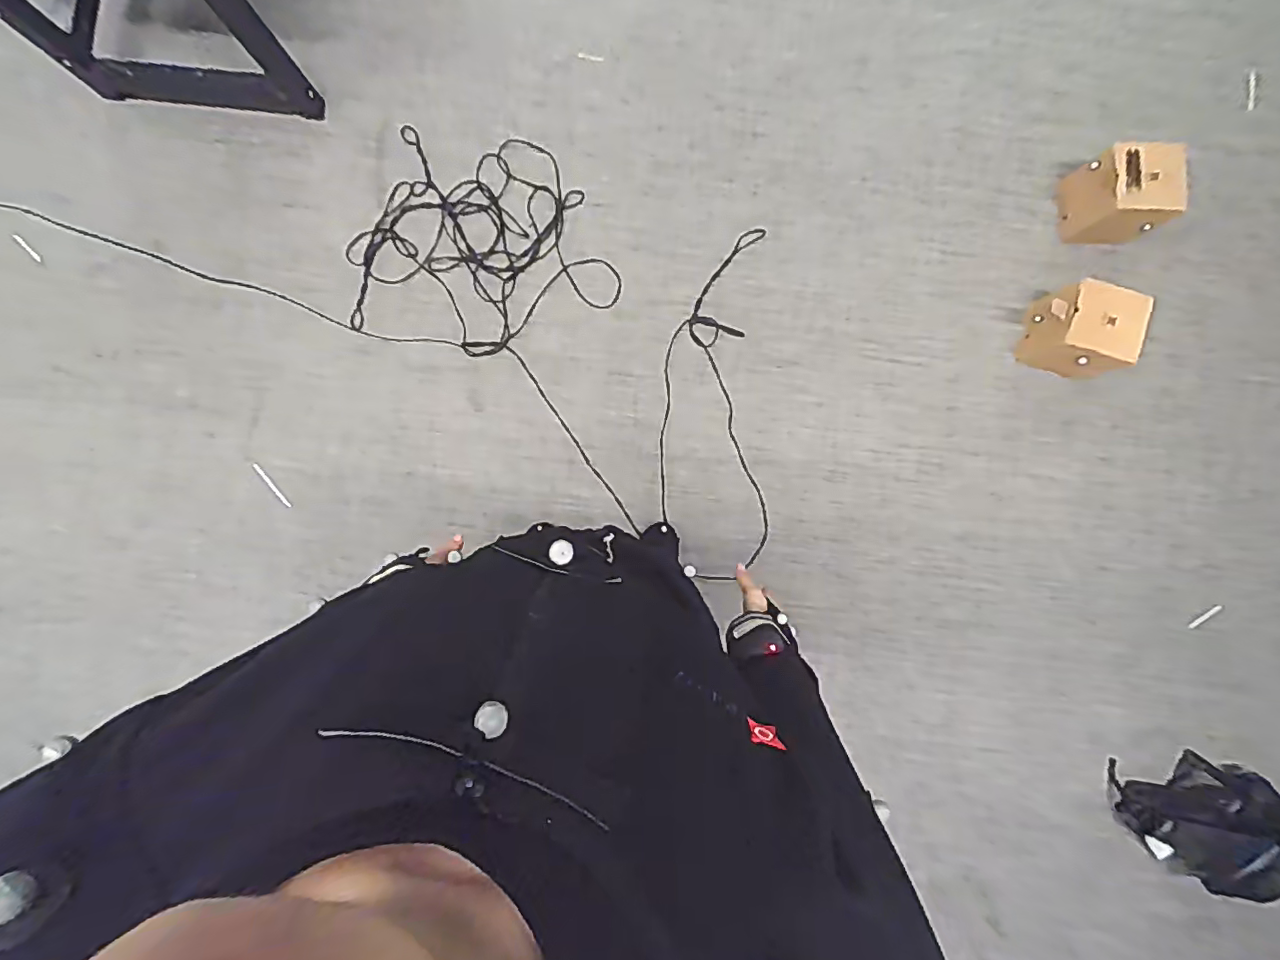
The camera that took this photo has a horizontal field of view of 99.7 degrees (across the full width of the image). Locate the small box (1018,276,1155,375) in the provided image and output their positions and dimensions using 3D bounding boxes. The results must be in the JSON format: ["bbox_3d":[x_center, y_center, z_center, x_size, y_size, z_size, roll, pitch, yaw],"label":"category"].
[{"bbox_3d":[1.085,-0.368,1.327,0.179,0.176,0.168,17,88,0],"label":"small box"}]
